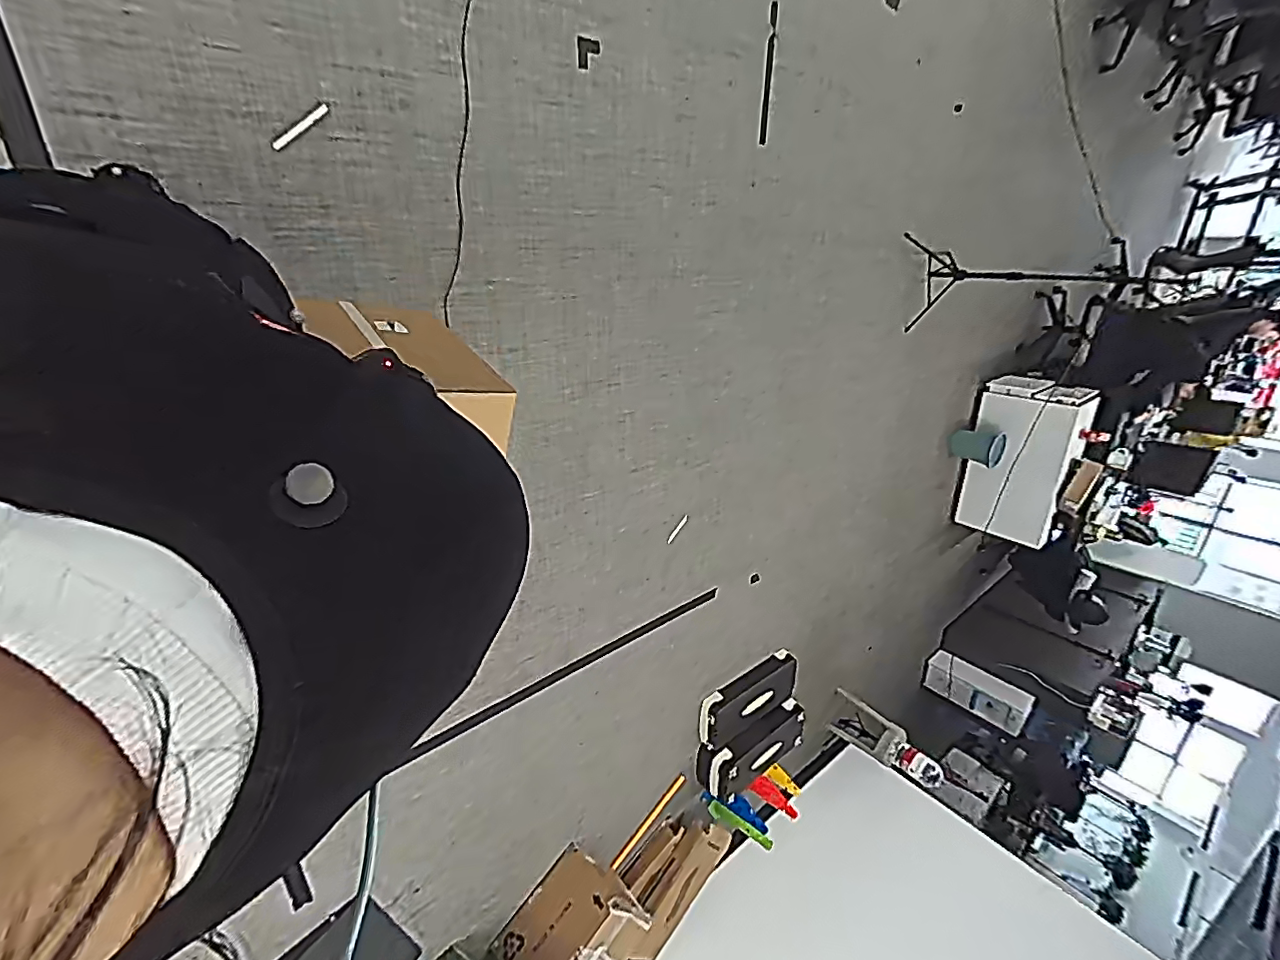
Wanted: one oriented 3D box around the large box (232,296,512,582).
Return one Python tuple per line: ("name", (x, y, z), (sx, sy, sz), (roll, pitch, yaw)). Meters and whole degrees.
("large box", (-0.463, -0.091, 0.918), (0.320, 0.408, 0.320), (-7, 123, -41))
